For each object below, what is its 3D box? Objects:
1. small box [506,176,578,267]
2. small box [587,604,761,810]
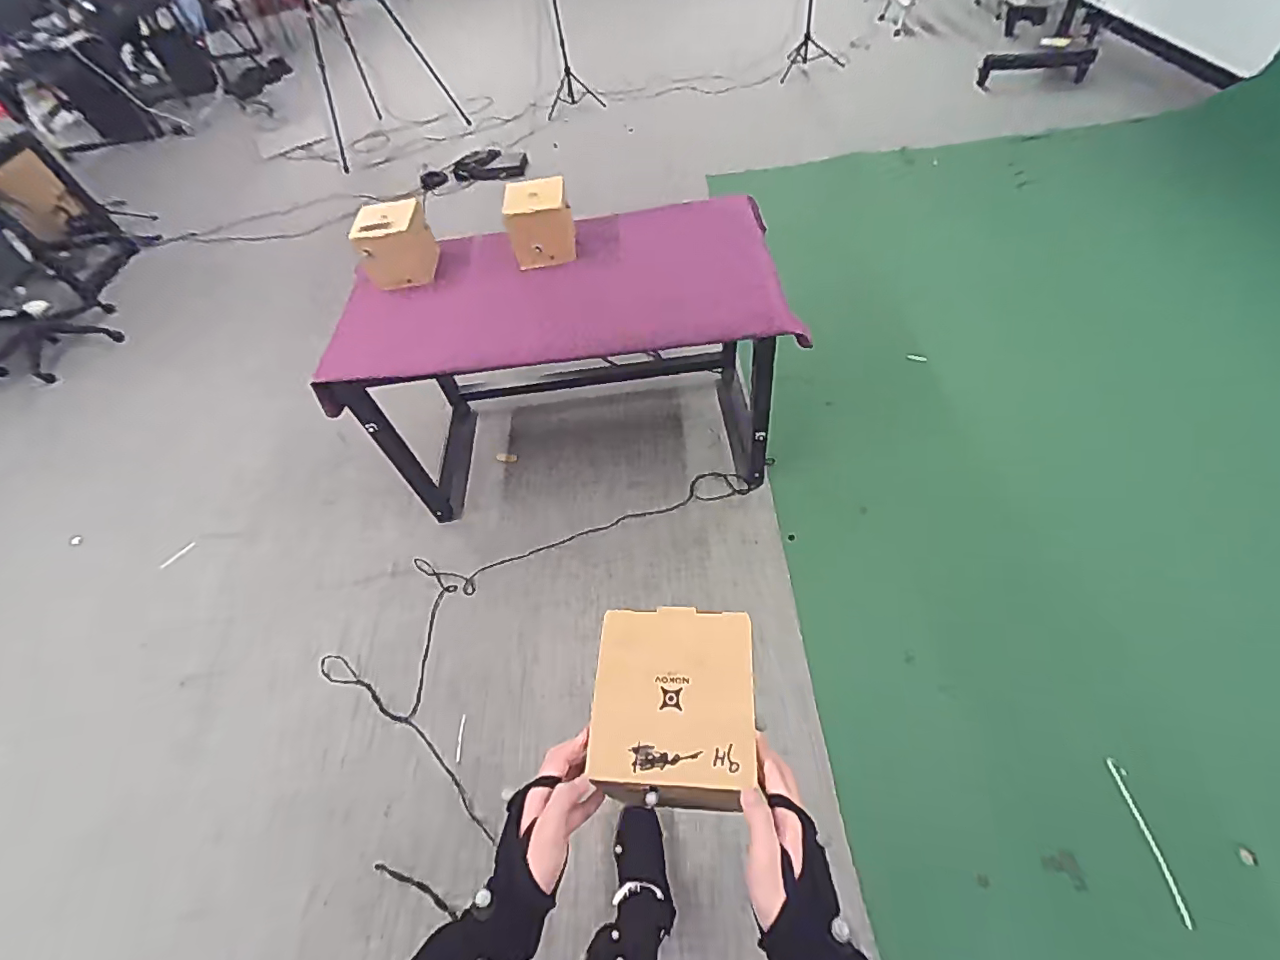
[{"bbox_3d":[-0.275,-0.737,1.548,0.168,0.176,0.179,-7,54,3],"label":"small box"},{"bbox_3d":[0.048,0.258,0.613,0.168,0.176,0.179,-1,54,10],"label":"small box"}]
